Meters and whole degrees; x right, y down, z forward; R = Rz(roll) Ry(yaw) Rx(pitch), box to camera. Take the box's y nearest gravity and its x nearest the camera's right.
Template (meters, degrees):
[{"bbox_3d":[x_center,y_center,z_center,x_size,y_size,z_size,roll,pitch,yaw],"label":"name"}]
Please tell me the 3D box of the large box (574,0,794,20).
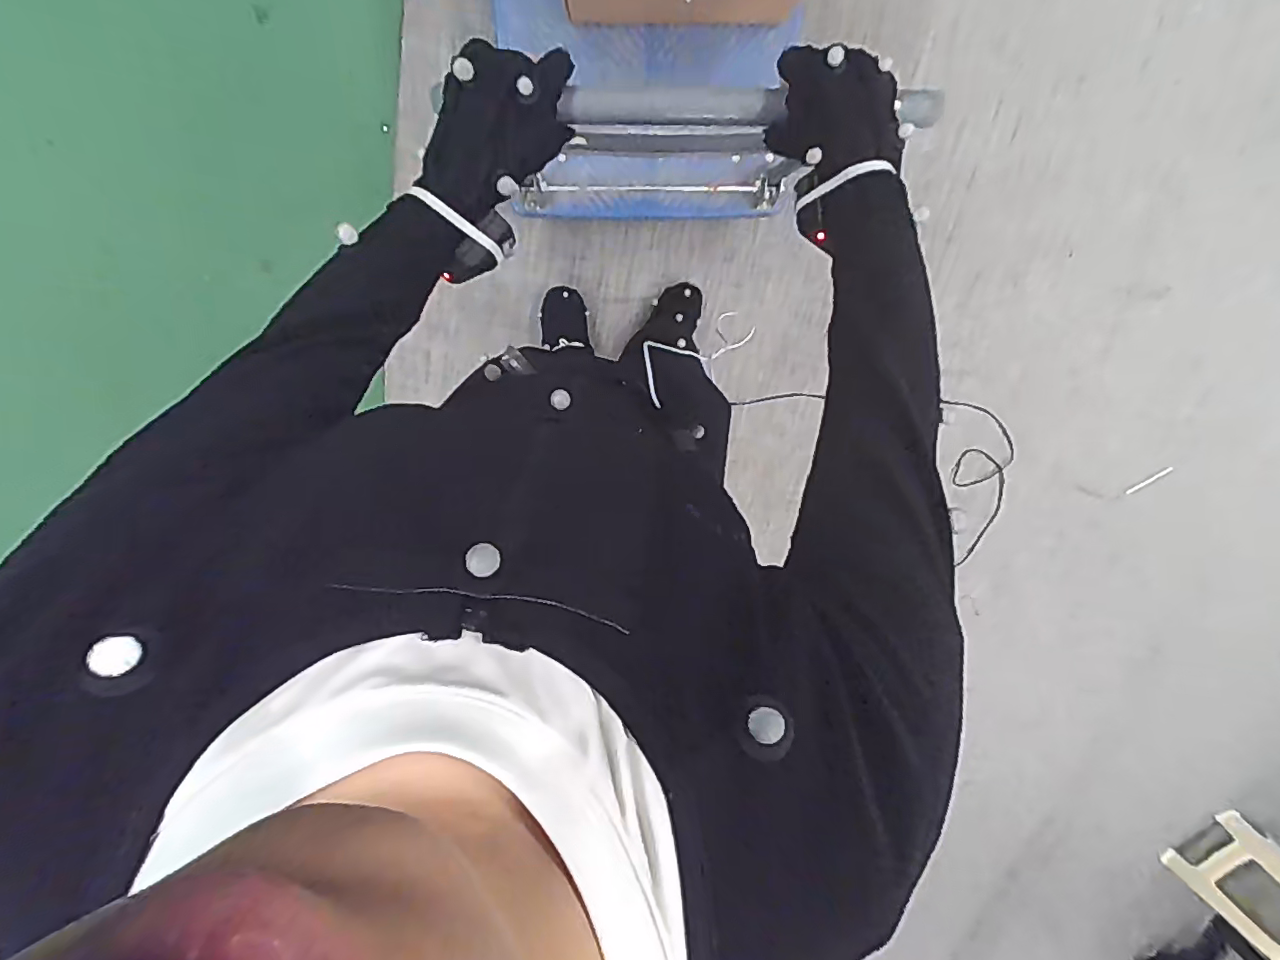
[{"bbox_3d":[0.080,-0.951,0.821,0.408,0.320,0.320,-2,112,0],"label":"large box"}]
